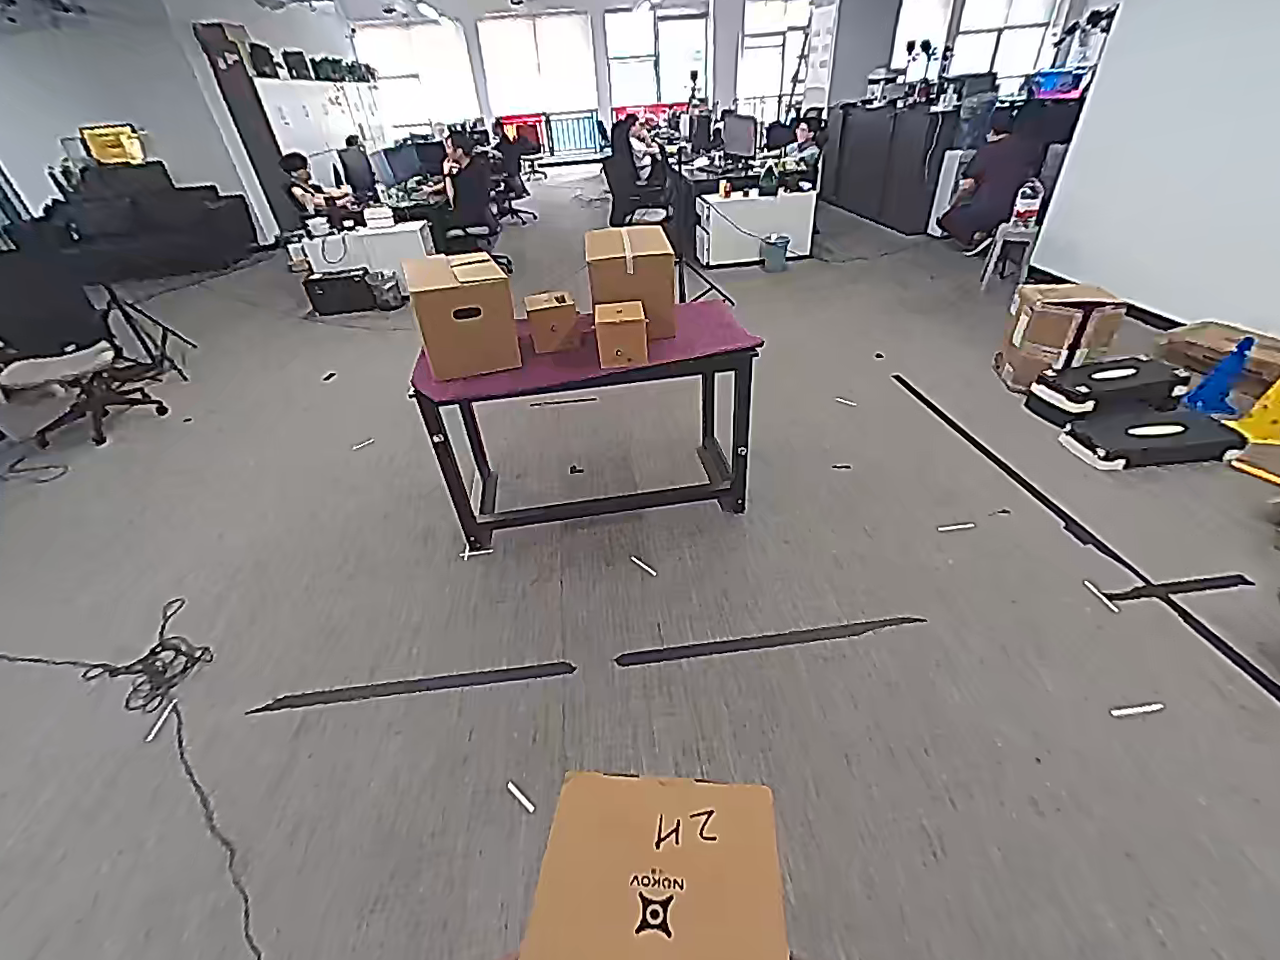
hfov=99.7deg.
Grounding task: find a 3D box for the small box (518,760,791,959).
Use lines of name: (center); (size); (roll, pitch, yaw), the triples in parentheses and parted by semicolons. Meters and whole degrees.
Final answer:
small box: (0.017, 0.340, 0.391); (0.168, 0.176, 0.179); (1, 26, 7)
